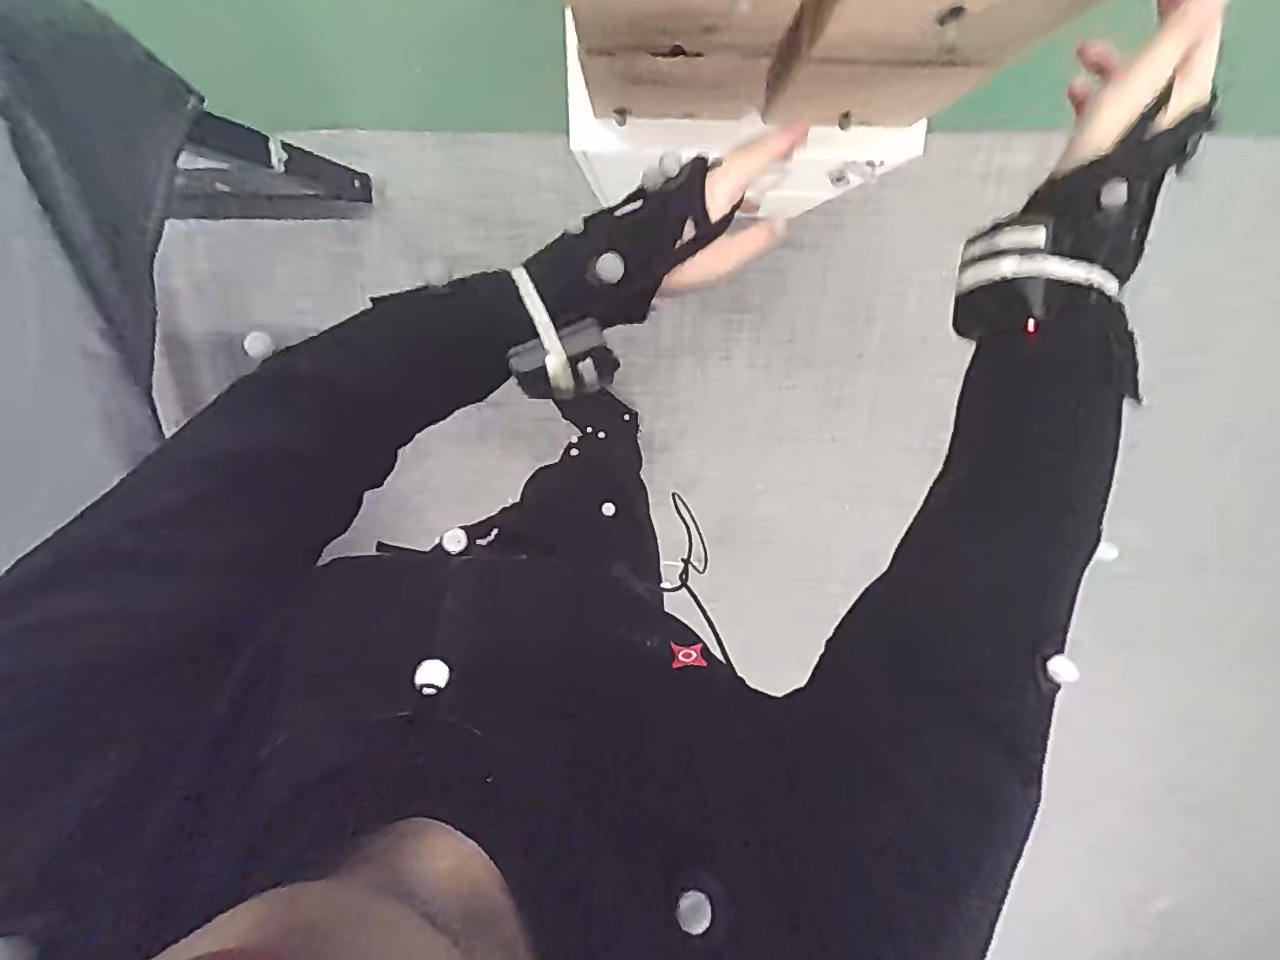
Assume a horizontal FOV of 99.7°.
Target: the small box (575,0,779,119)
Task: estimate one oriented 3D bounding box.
[{"bbox_3d":[0.032,-0.451,0.490,0.168,0.176,0.179,1,108,-1],"label":"small box"}]
